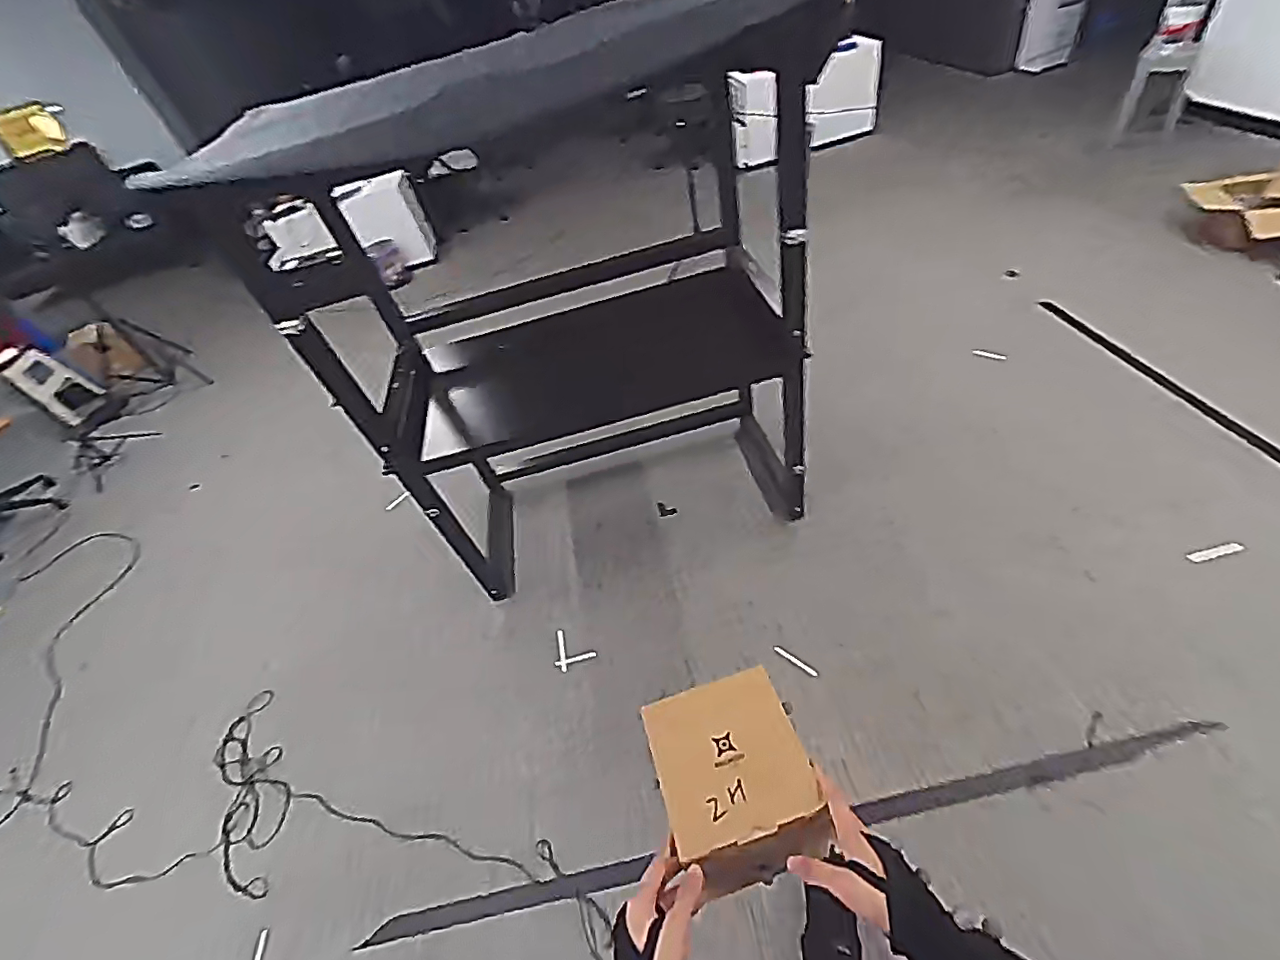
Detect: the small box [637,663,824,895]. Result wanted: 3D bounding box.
[{"bbox_3d":[0.107,0.365,0.665,0.168,0.176,0.179,-19,40,-3],"label":"small box"}]
